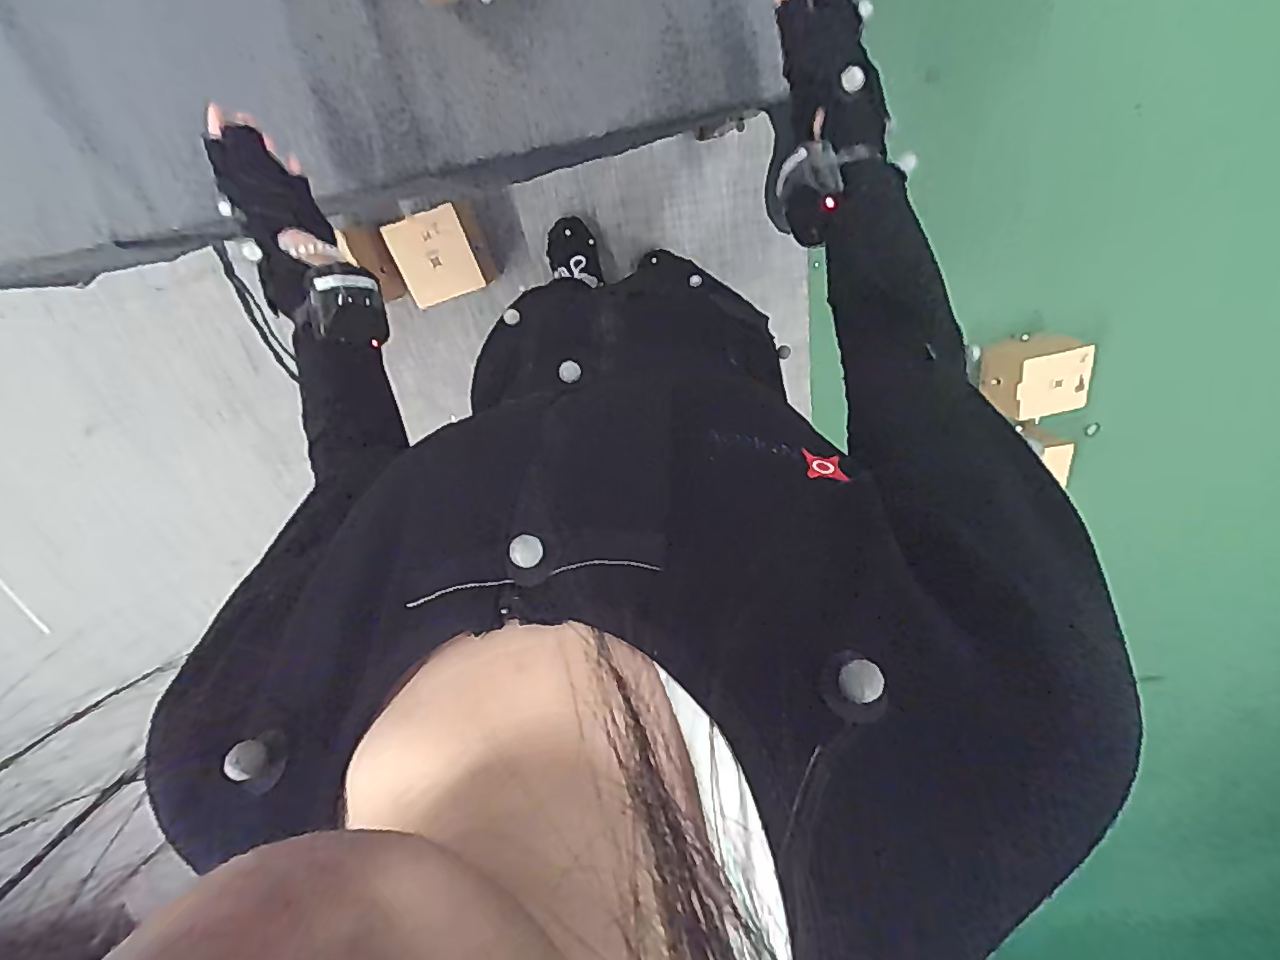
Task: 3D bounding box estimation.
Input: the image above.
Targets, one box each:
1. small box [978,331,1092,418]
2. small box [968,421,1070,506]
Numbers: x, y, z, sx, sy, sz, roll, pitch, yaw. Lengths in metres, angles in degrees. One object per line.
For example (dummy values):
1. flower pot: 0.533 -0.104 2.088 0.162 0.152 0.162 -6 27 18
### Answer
1. small box: 1.030 -0.282 1.429 0.179 0.176 0.168 -11 118 4
2. small box: 1.076 -0.051 1.555 0.168 0.176 0.179 -9 118 1
